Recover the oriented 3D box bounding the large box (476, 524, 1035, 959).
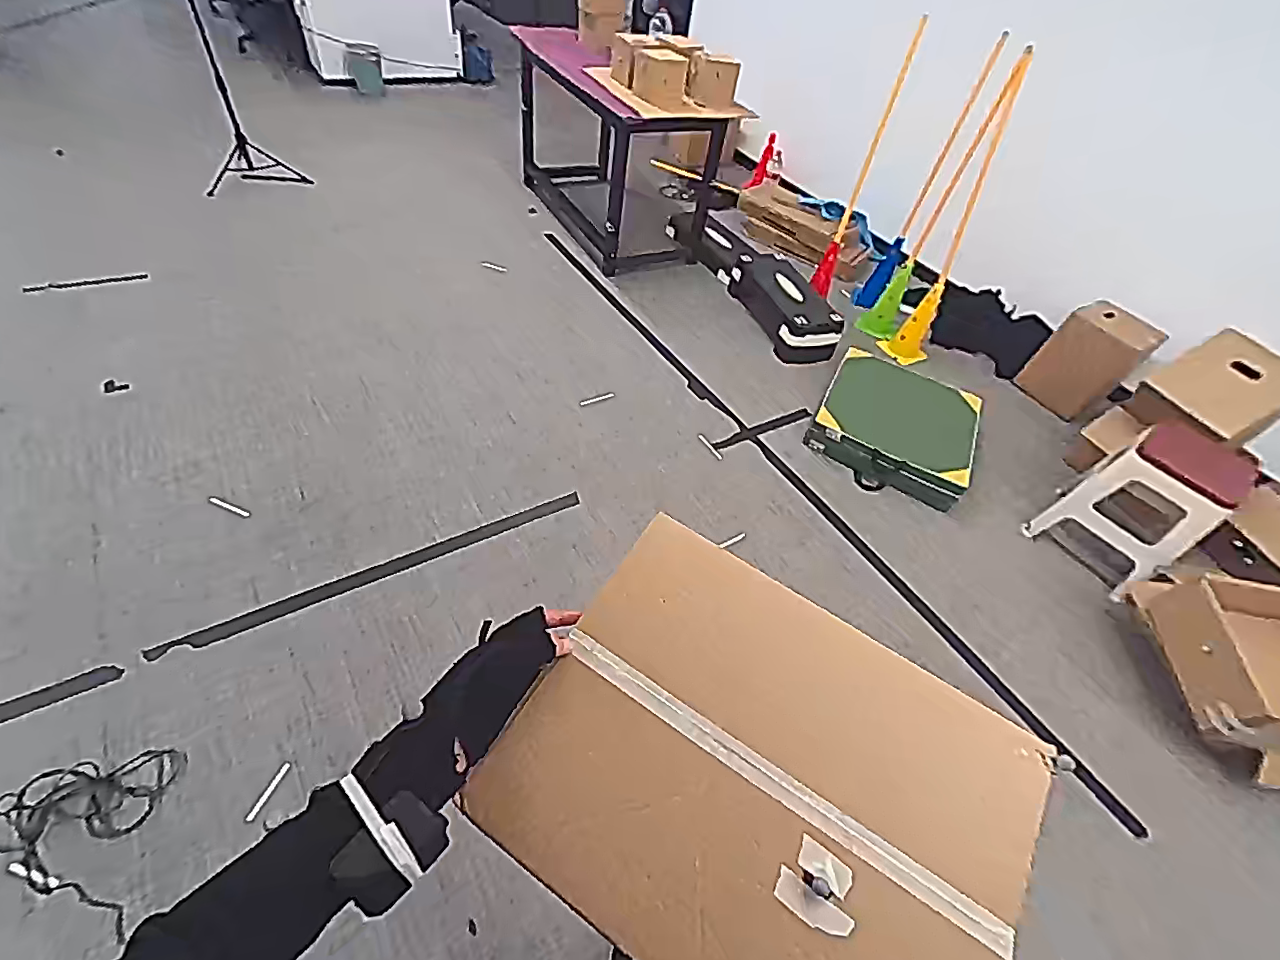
[{"bbox_3d":[0.100,0.321,0.593,0.408,0.320,0.320,31,64,14],"label":"large box"}]
